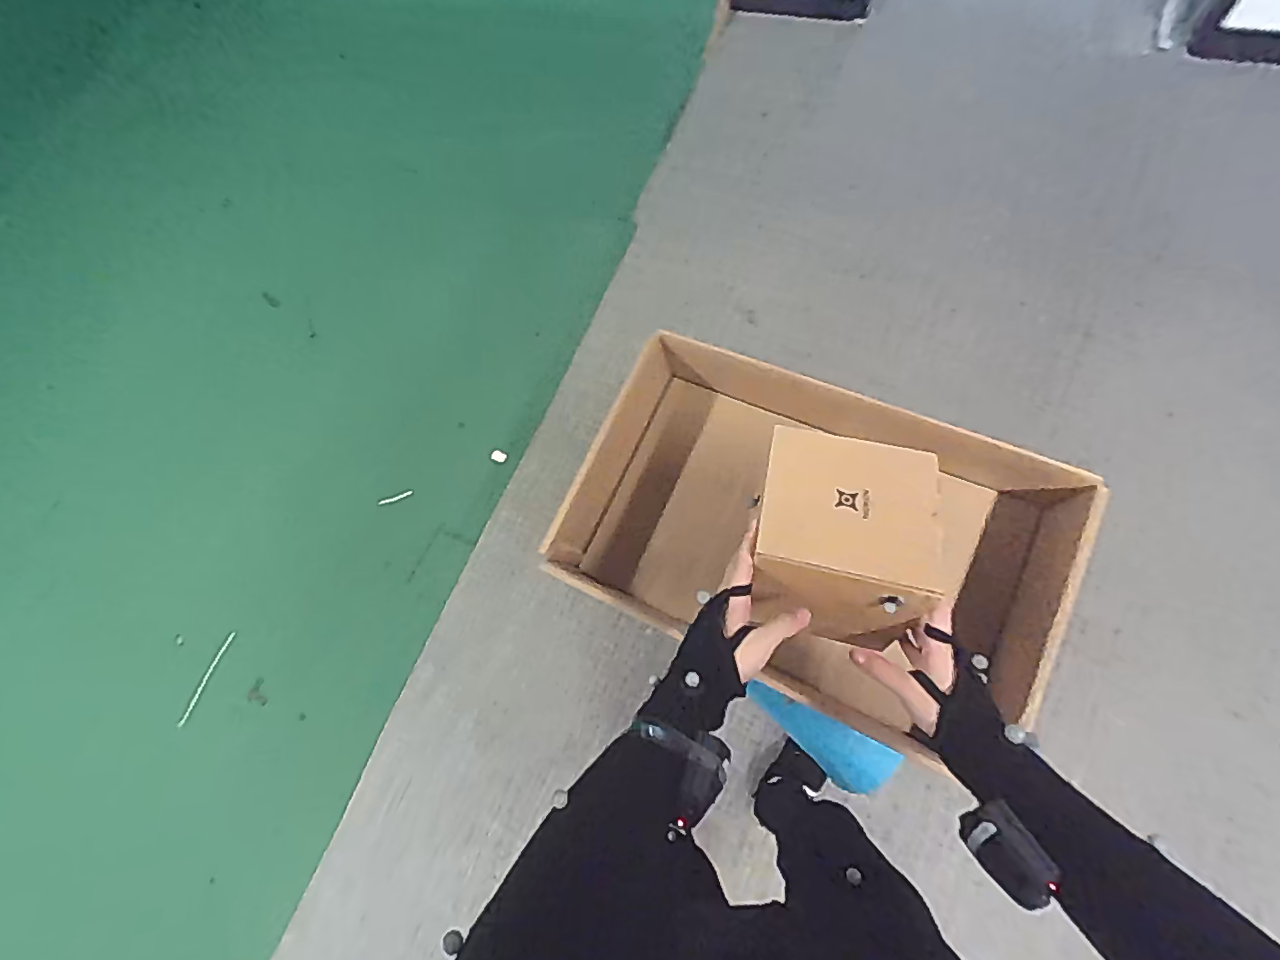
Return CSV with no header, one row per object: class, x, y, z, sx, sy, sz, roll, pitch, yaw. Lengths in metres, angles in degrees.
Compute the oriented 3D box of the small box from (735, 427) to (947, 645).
small box,0.209,0.068,0.602,0.179,0.176,0.168,12,57,8
